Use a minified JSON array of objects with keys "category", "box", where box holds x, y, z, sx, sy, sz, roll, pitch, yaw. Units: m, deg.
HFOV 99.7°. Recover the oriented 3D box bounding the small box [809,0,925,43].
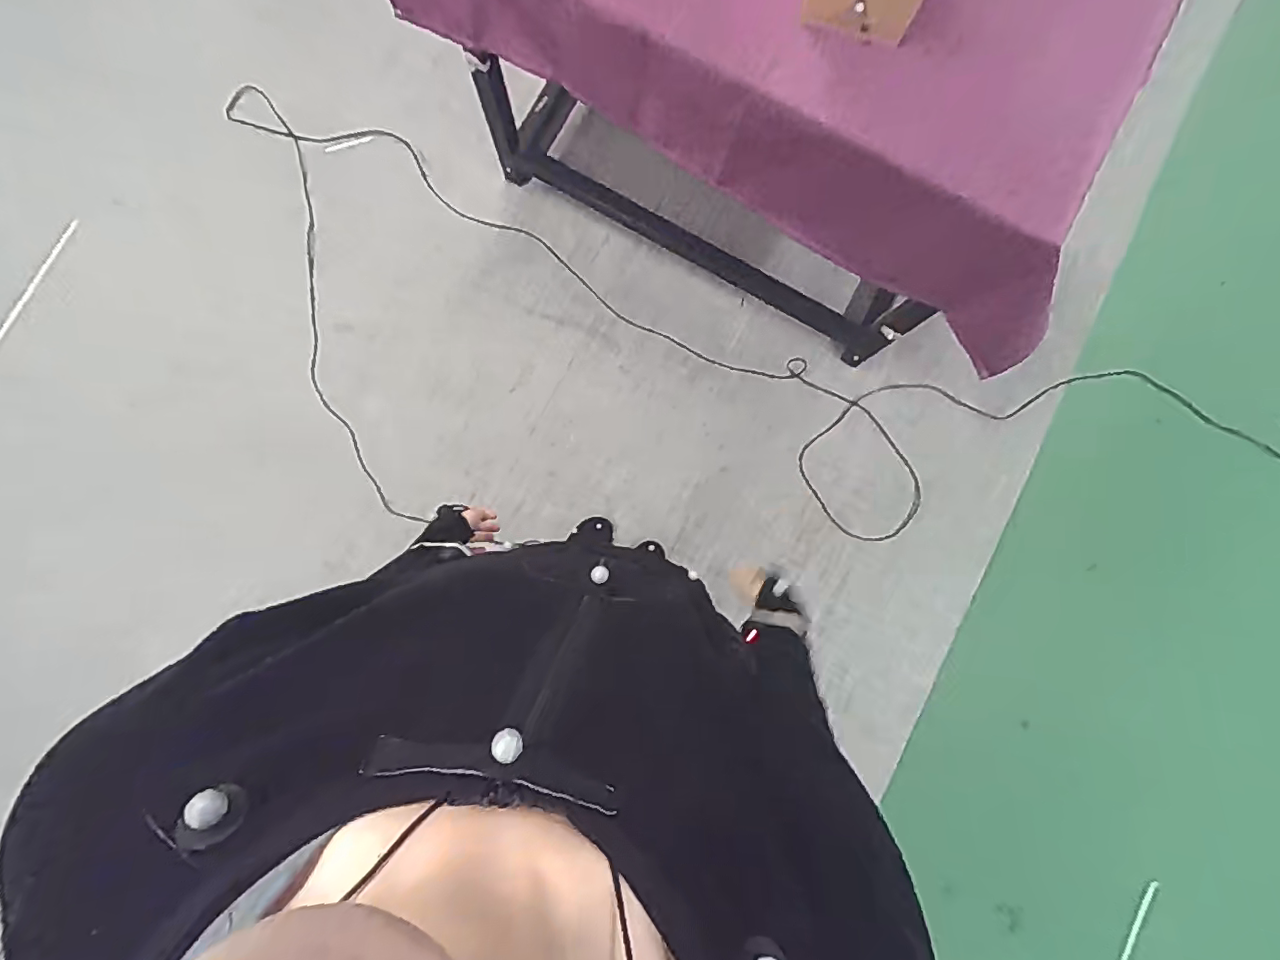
[{"category":"small box","box":[0.367,-0.810,0.794,0.168,0.176,0.179,16,85,0]}]
